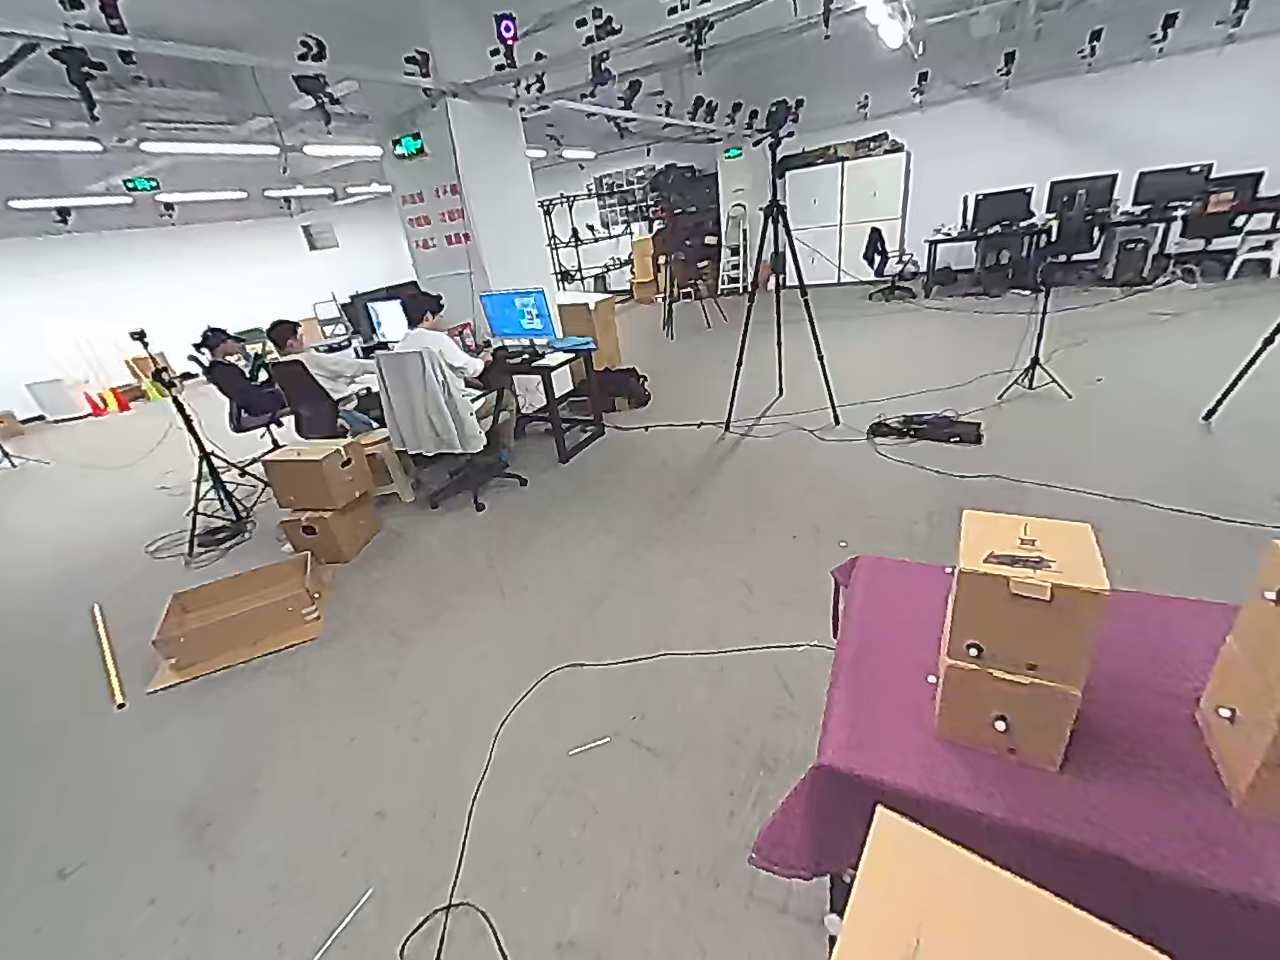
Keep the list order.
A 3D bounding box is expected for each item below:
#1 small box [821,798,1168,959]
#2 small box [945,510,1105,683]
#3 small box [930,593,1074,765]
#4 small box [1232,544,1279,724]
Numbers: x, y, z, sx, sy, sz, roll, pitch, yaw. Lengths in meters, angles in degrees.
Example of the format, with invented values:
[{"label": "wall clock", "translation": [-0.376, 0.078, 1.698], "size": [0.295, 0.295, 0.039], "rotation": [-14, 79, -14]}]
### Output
[{"label": "small box", "translation": [0.228, 0.379, 0.387], "size": [0.179, 0.176, 0.168], "rotation": [17, 48, 33]}, {"label": "small box", "translation": [0.561, 0.168, 0.807], "size": [0.168, 0.176, 0.179], "rotation": [8, 30, 29]}, {"label": "small box", "translation": [0.576, 0.318, 0.876], "size": [0.168, 0.176, 0.179], "rotation": [8, 31, 28]}, {"label": "small box", "translation": [0.871, 0.205, 0.648], "size": [0.168, 0.176, 0.179], "rotation": [8, 31, 31]}]
